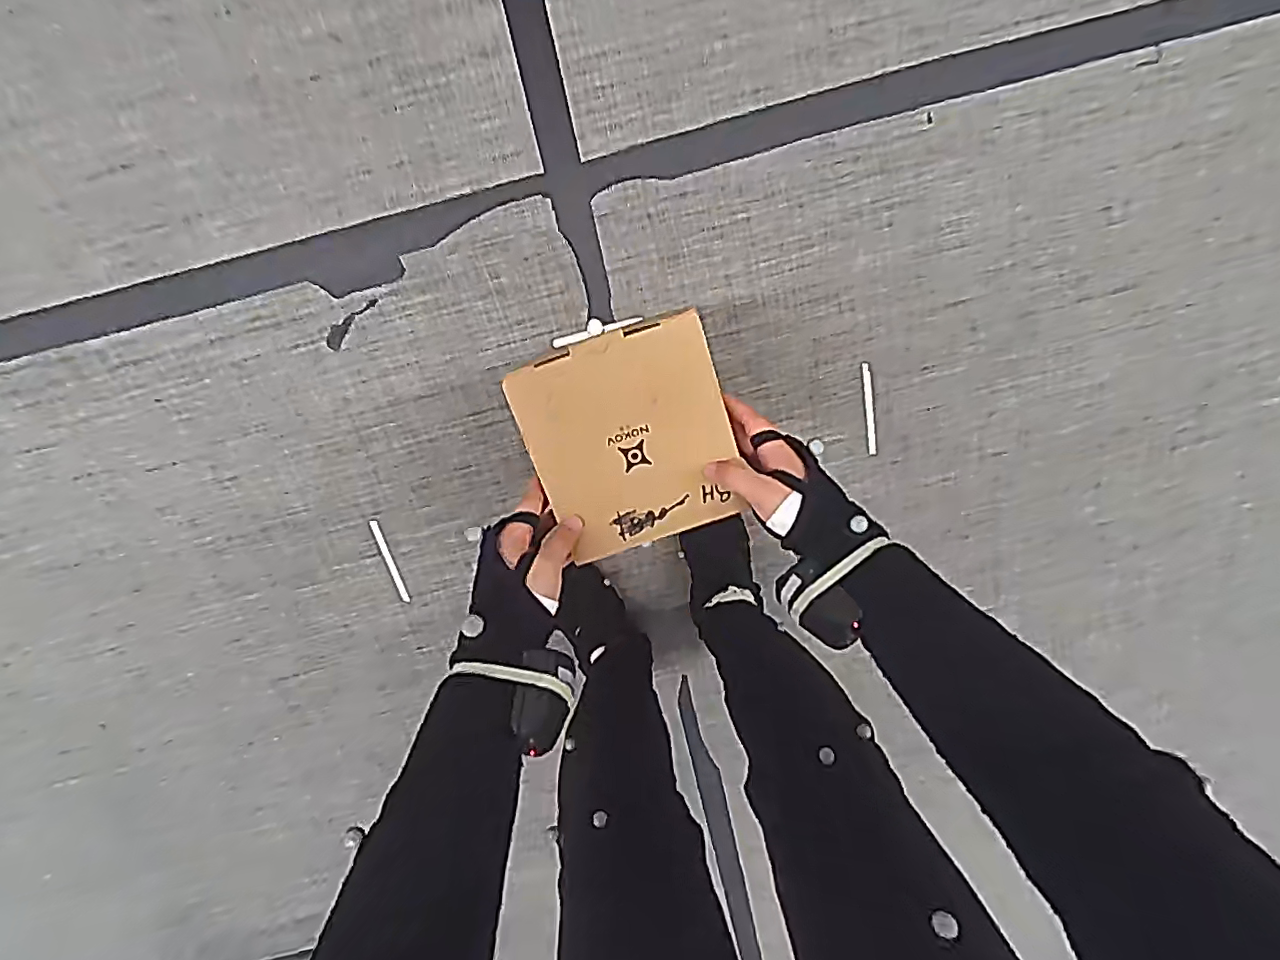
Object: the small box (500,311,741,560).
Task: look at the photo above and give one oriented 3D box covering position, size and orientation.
[{"bbox_3d":[-0.018,-0.052,0.531,0.168,0.176,0.179,-18,106,2],"label":"small box"}]
